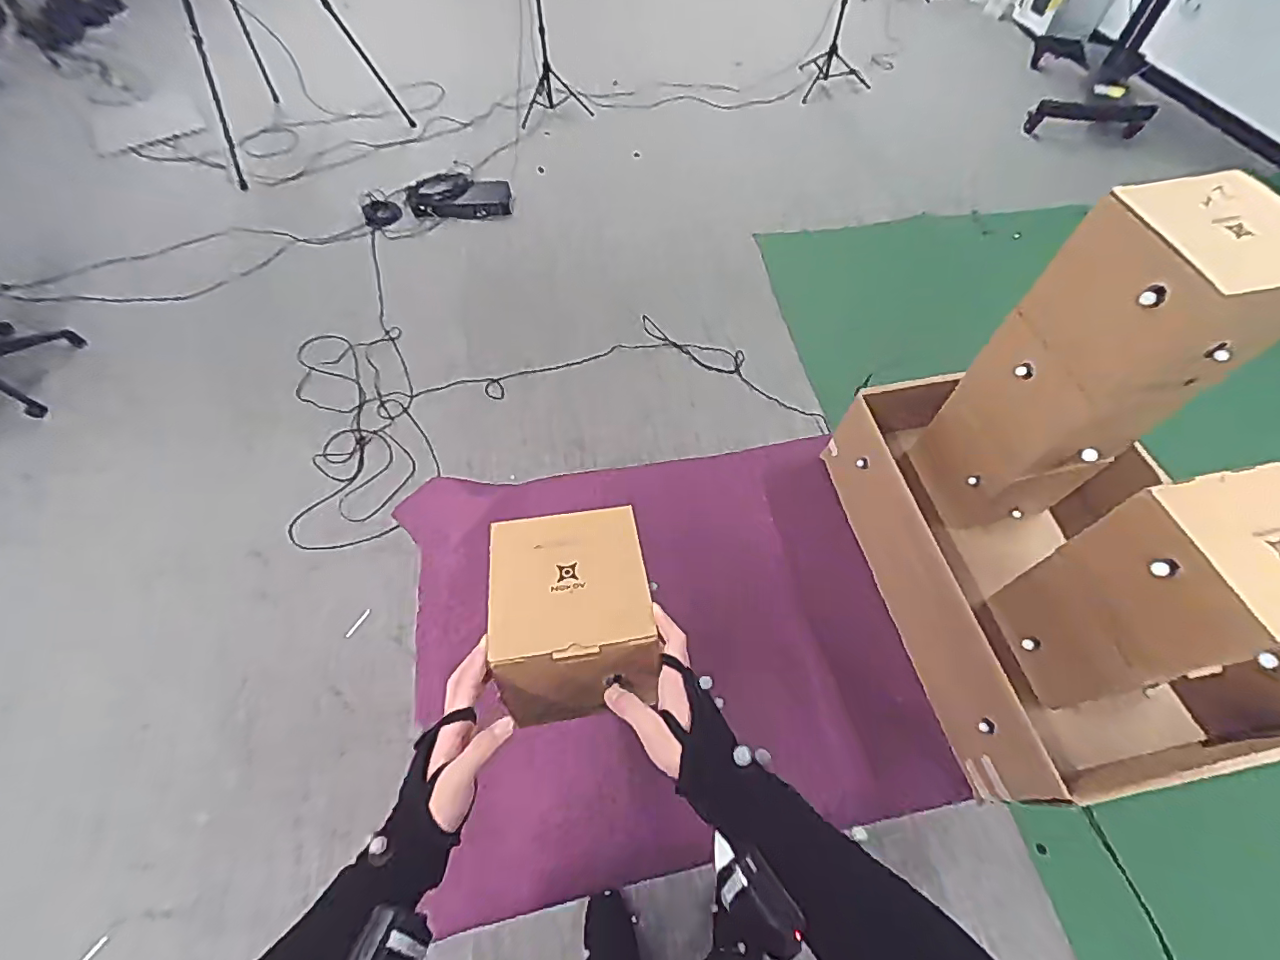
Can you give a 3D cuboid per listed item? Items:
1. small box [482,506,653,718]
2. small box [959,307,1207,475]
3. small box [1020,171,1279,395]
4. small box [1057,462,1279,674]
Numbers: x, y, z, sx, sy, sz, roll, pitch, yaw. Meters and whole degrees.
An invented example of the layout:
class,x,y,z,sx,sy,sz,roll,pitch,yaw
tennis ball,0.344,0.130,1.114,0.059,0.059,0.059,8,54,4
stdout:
class,x,y,z,sx,sy,sz,roll,pitch,yaw
small box,-0.079,0.157,0.622,0.168,0.176,0.179,-7,47,-7
small box,0.596,-0.132,0.761,0.168,0.176,0.179,-12,60,-5
small box,0.595,-0.213,0.617,0.168,0.176,0.179,-10,59,-6
small box,0.642,0.108,0.615,0.168,0.176,0.179,-11,57,-5
